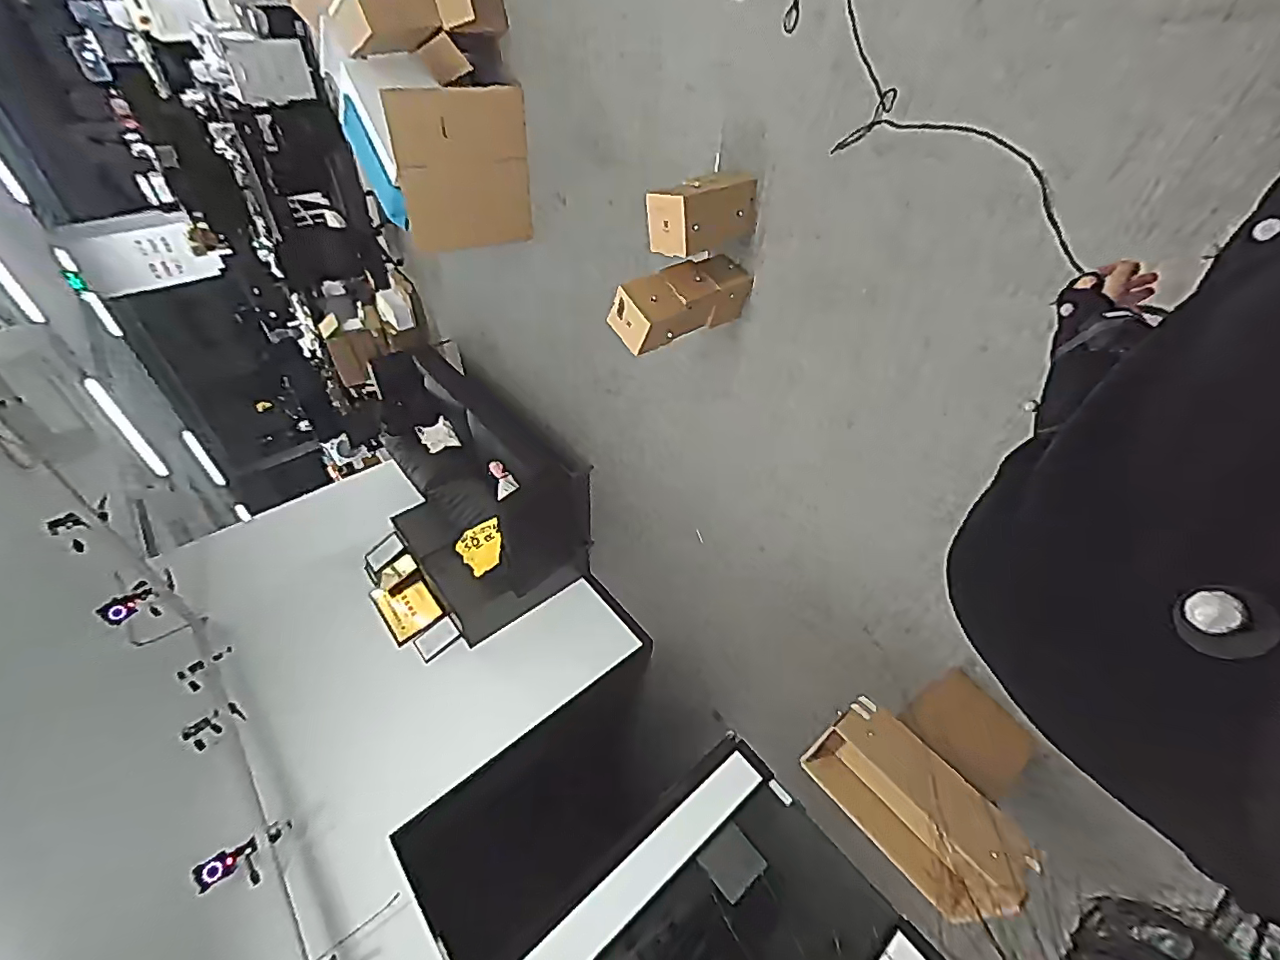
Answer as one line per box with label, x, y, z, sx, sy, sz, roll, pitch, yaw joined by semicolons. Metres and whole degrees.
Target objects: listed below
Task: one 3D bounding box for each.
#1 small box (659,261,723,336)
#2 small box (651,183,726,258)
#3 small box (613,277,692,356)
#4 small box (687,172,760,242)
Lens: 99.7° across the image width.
small box;0.161;-0.627;1.881;0.168;0.176;0.179;52;150;17
small box;0.157;-0.820;1.703;0.168;0.176;0.179;32;141;41
small box;0.040;-0.551;1.800;0.179;0.176;0.168;53;150;13
small box;0.274;-0.903;1.782;0.179;0.176;0.168;36;144;38
